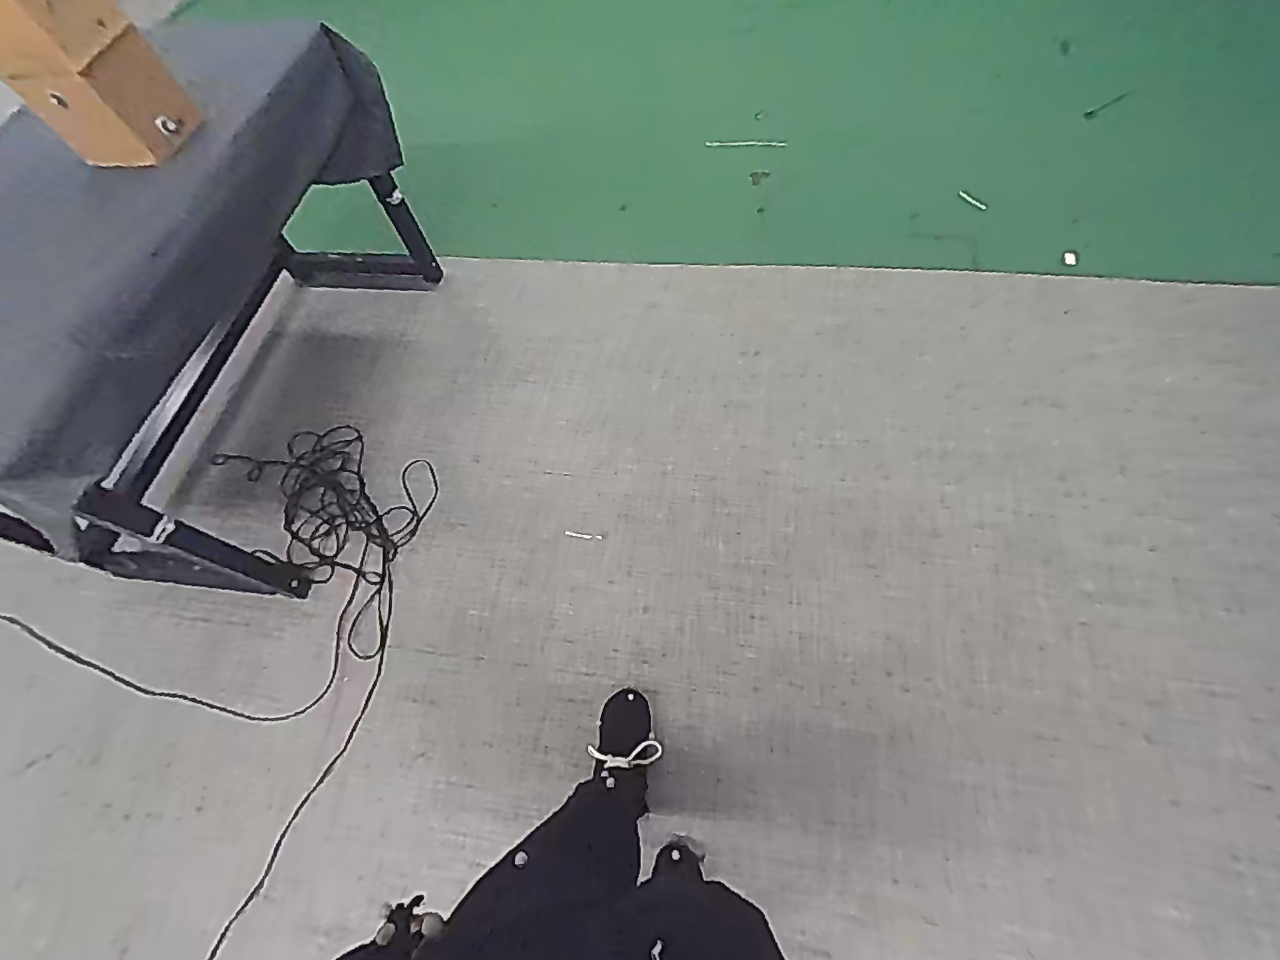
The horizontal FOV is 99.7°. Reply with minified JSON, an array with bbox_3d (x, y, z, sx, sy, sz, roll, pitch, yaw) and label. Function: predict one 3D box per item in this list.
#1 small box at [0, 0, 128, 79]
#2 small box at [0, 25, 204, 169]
[{"bbox_3d":[-1.002,-0.783,0.870,0.179,0.176,0.168,4,65,10],"label":"small box"},{"bbox_3d":[-0.993,-0.715,1.017,0.179,0.176,0.168,6,65,9],"label":"small box"}]
